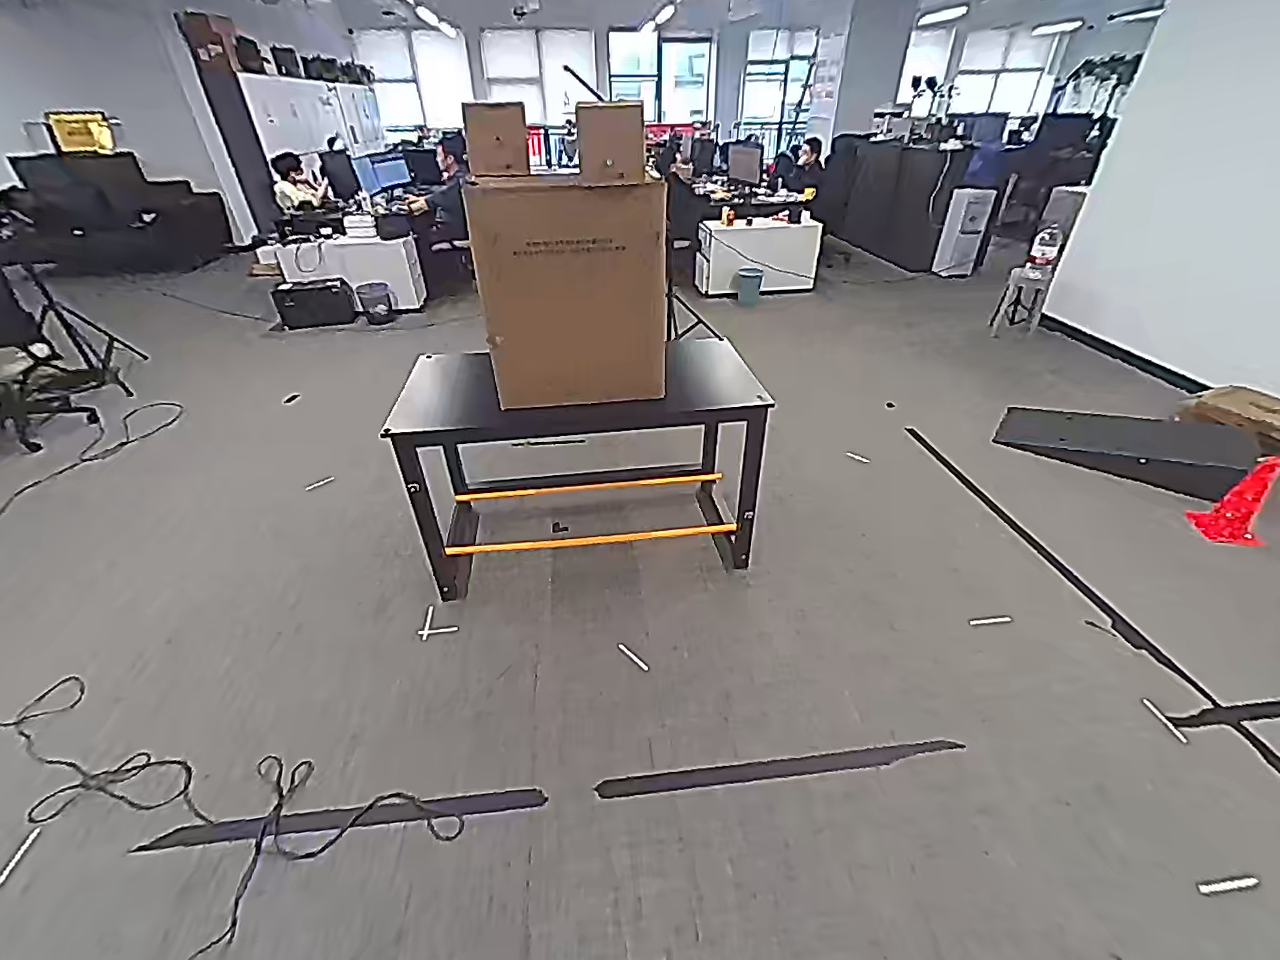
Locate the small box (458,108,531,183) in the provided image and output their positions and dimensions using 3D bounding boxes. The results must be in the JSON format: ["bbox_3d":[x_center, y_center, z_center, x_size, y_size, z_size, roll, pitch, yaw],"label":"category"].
[{"bbox_3d":[-0.400,-0.934,1.513,0.168,0.176,0.179,-7,35,-8],"label":"small box"}]

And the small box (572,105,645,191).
[{"bbox_3d":[-0.075,-0.840,1.368,0.168,0.176,0.179,-4,38,1],"label":"small box"}]
